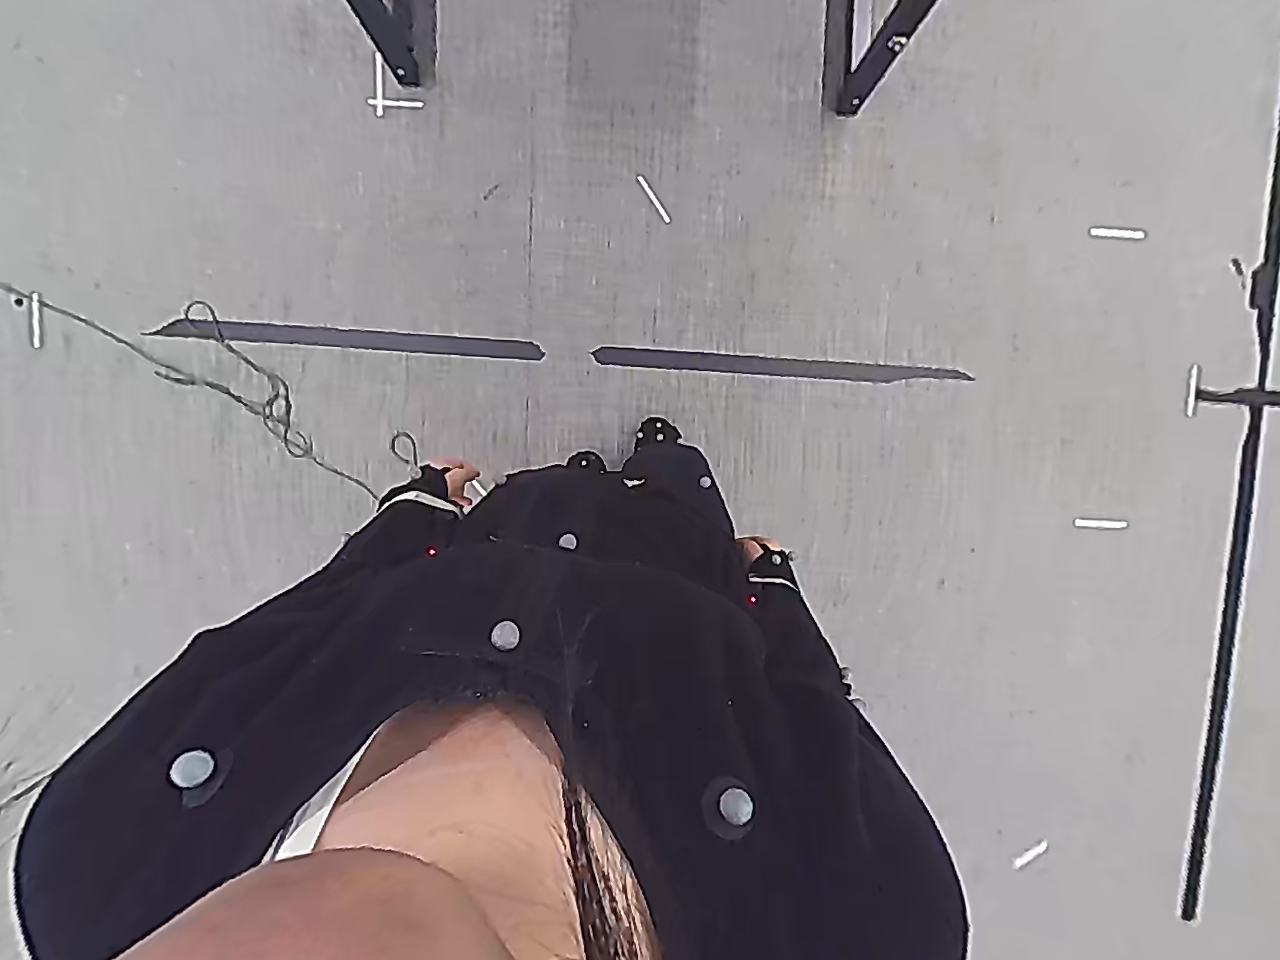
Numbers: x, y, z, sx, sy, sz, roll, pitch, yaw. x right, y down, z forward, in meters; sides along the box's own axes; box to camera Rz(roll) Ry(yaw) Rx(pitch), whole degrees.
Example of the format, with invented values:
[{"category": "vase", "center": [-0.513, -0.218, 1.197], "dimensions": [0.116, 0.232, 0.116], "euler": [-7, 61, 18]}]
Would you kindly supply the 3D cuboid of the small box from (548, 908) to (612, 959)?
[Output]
[{"category": "small box", "center": [-0.164, 1.329, 1.496], "dimensions": [0.168, 0.176, 0.179], "euler": [-4, 94, -2]}]
